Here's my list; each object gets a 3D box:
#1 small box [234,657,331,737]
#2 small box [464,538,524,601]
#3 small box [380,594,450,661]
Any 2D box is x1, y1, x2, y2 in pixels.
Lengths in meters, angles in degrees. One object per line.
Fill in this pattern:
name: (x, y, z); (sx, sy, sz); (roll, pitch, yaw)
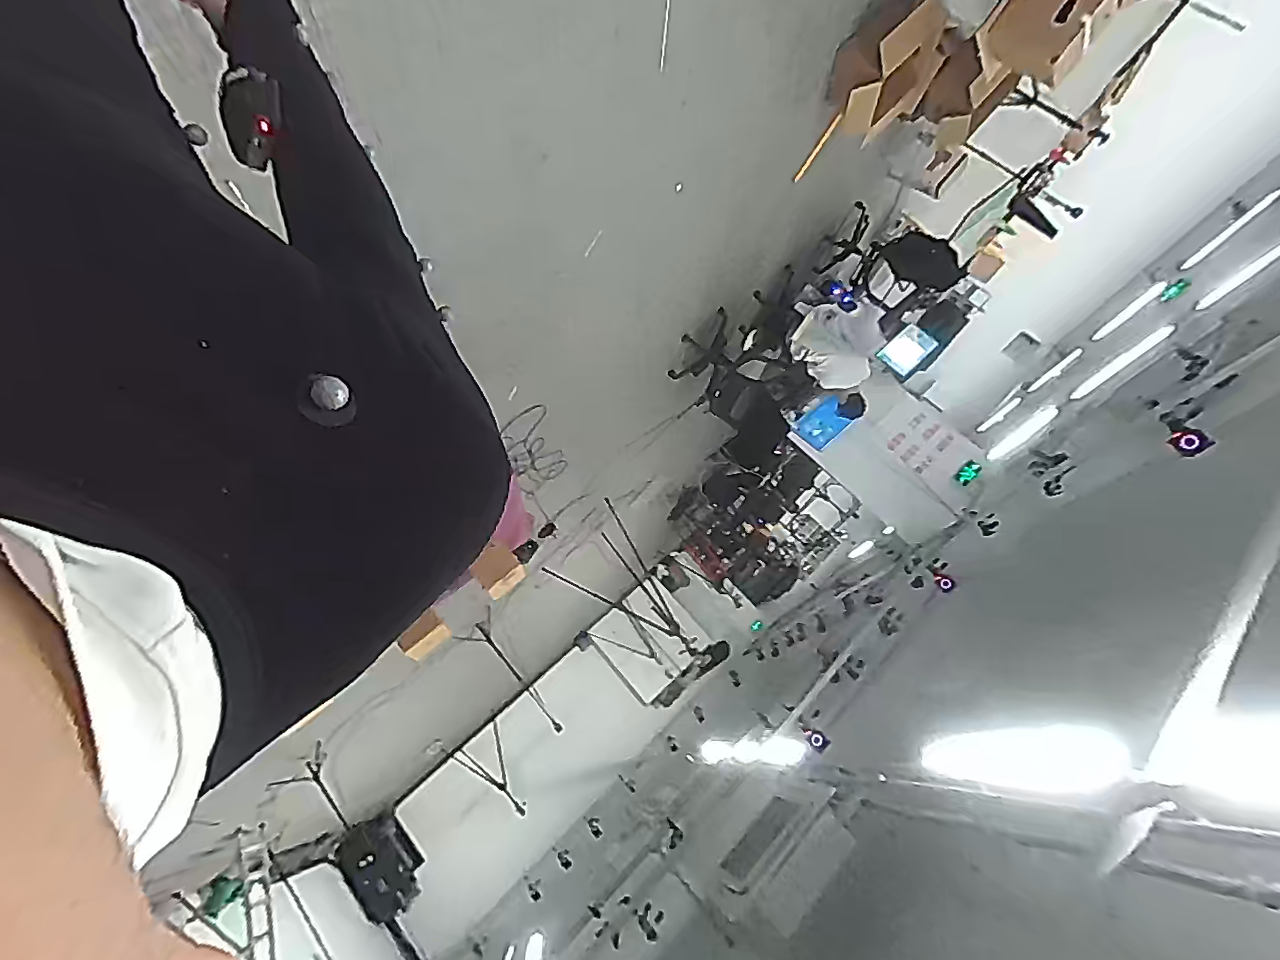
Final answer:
small box: (-1.126, 0.684, 1.710); (0.168, 0.176, 0.179); (-39, 165, -24)
small box: (-0.600, 0.362, 2.216); (0.168, 0.176, 0.179); (-38, 163, -21)
small box: (-0.864, 0.564, 2.081); (0.168, 0.176, 0.179); (-38, 163, -23)
